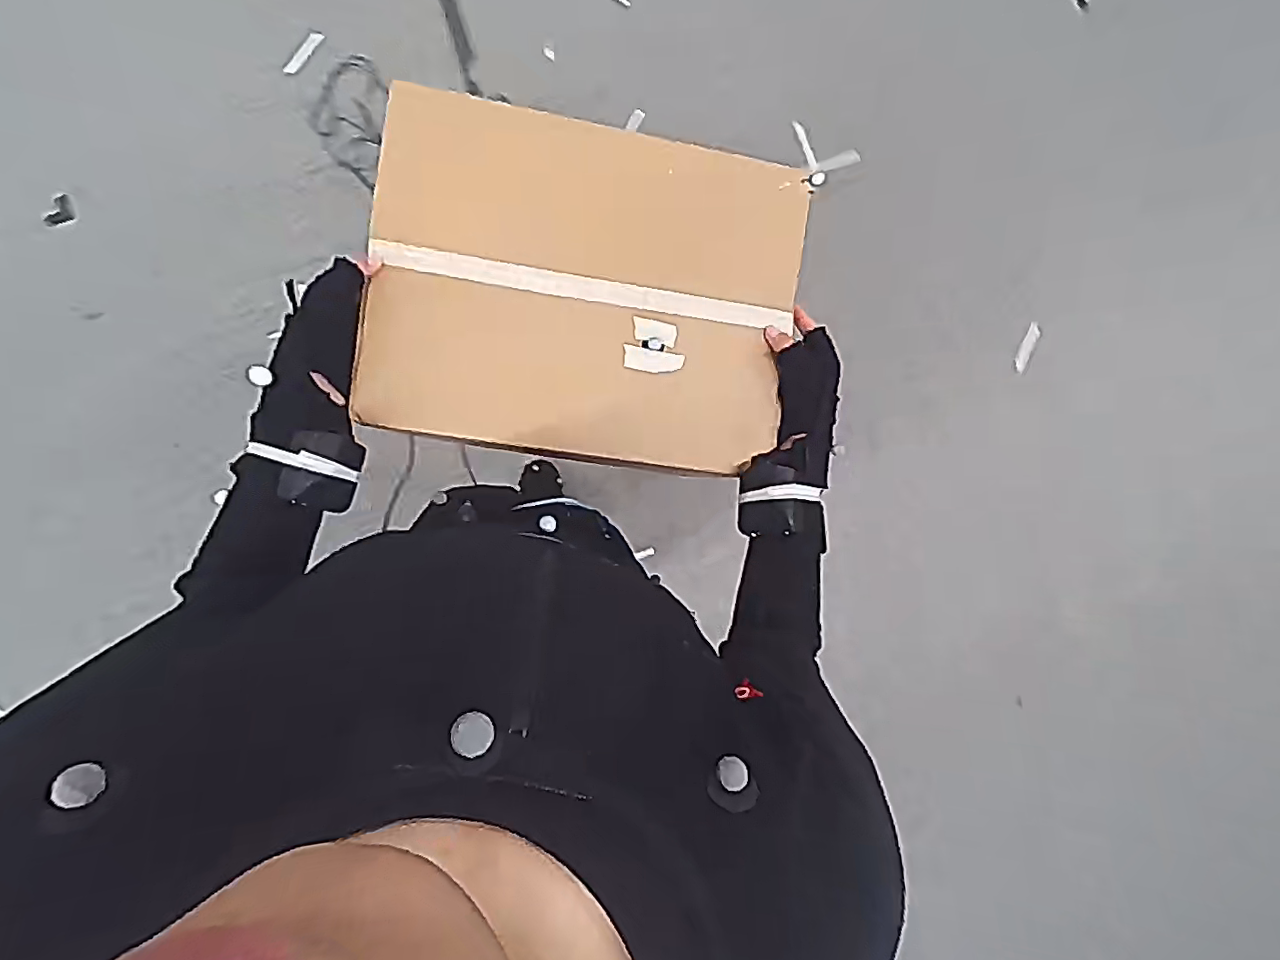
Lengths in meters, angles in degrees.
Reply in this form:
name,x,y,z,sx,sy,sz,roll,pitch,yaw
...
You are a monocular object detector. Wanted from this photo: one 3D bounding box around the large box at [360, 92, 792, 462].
name,x,y,z,sx,sy,sz,roll,pitch,yaw
large box,-0.075,-0.195,0.677,0.408,0.320,0.320,7,91,-8
